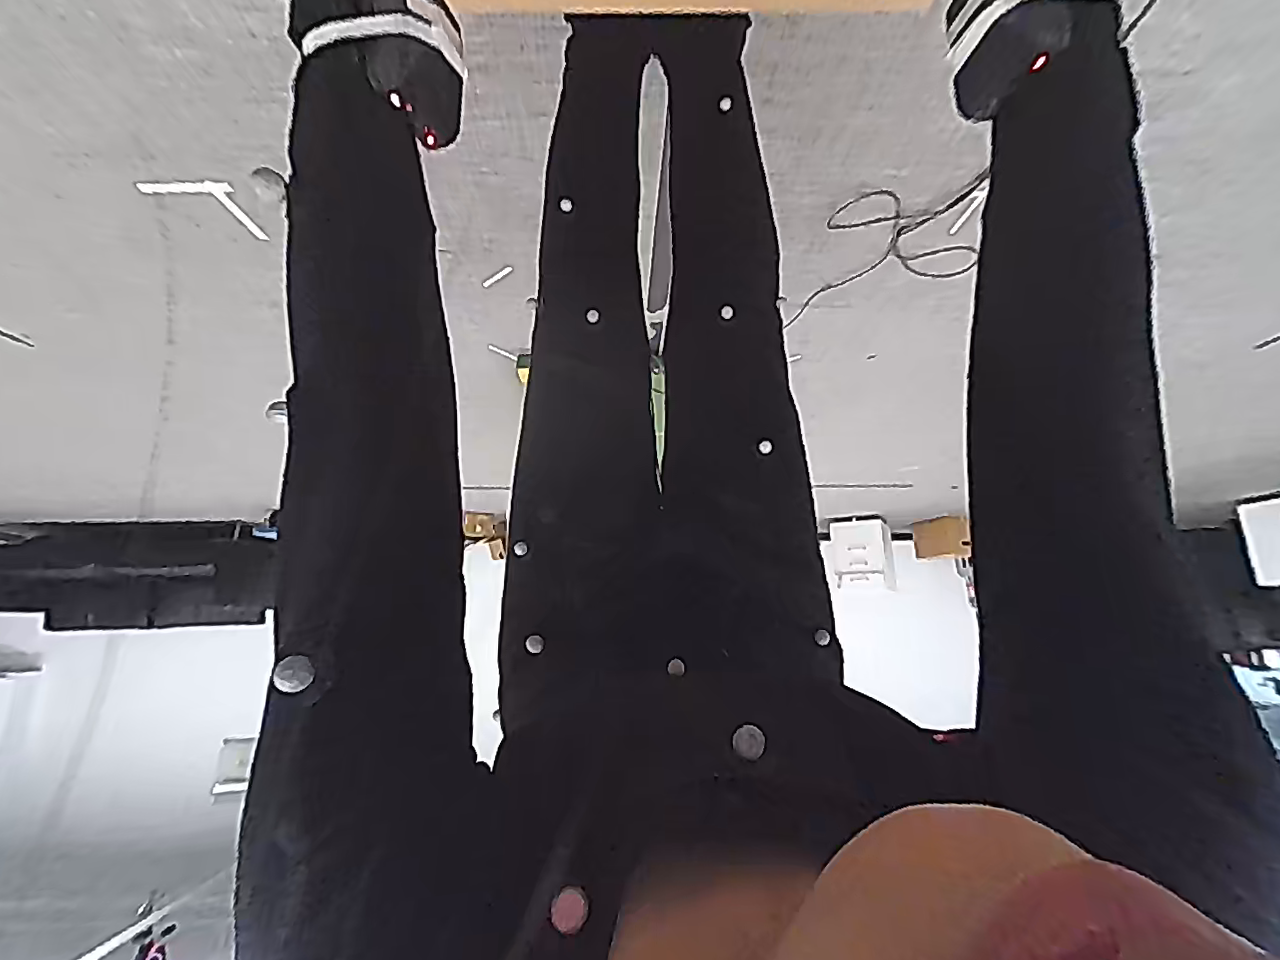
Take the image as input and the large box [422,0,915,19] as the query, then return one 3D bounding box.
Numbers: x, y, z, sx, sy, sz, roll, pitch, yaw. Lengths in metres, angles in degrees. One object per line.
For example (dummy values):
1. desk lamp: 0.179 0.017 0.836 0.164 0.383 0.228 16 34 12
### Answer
1. large box: 0.020 -0.555 0.319 0.408 0.320 0.320 -1 168 0
